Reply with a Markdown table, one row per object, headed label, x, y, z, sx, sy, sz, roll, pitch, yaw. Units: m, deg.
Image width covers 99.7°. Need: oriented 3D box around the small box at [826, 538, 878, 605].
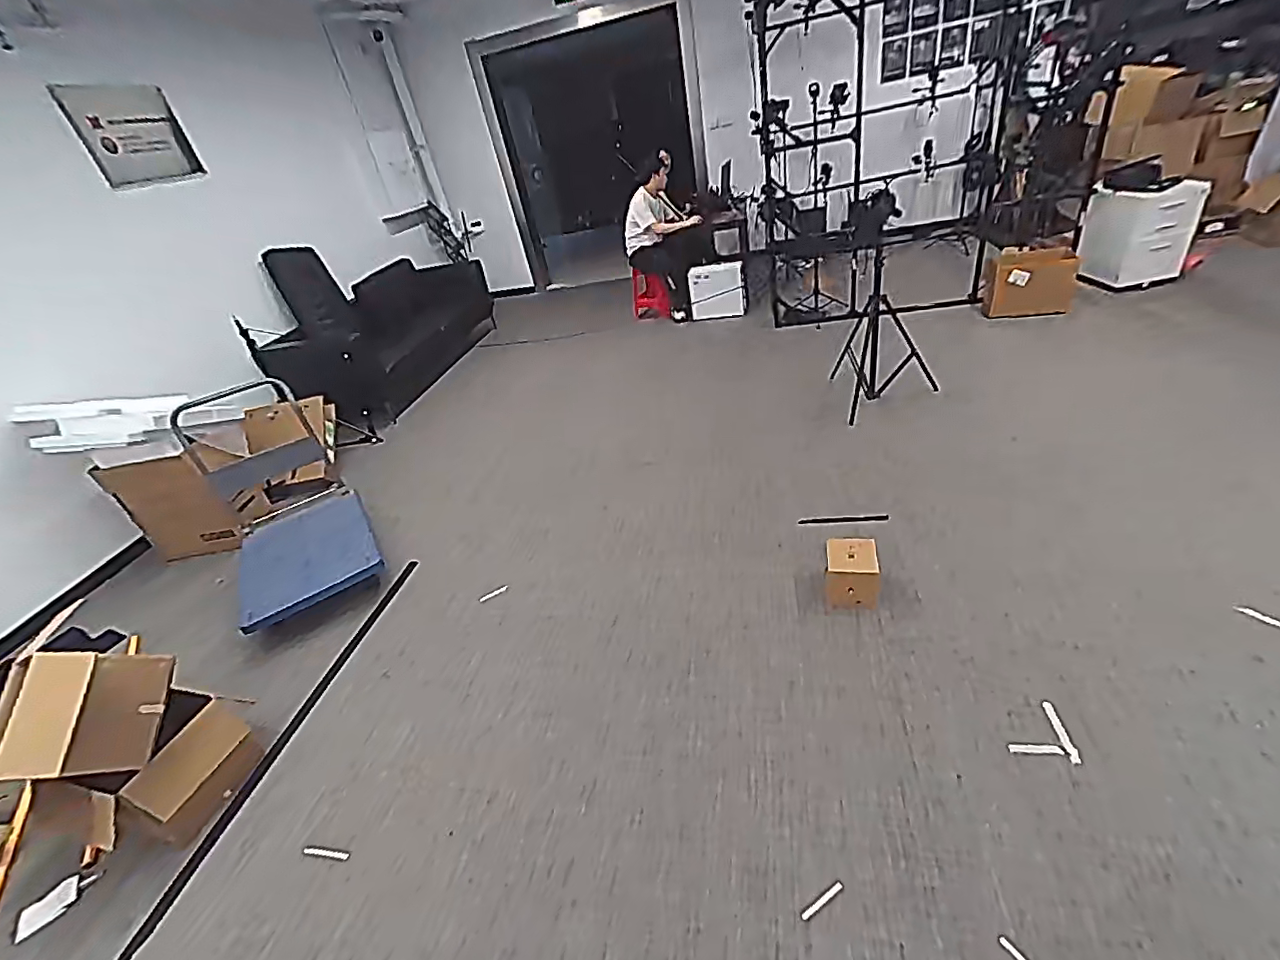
| label | x | y | z | sx | sy | sz | roll | pitch | yaw |
| --- | --- | --- | --- | --- | --- | --- | --- | --- | --- |
| small box | 0.760 | 0.330 | 1.949 | 0.168 | 0.176 | 0.179 | -1 | 34 | 17 |
